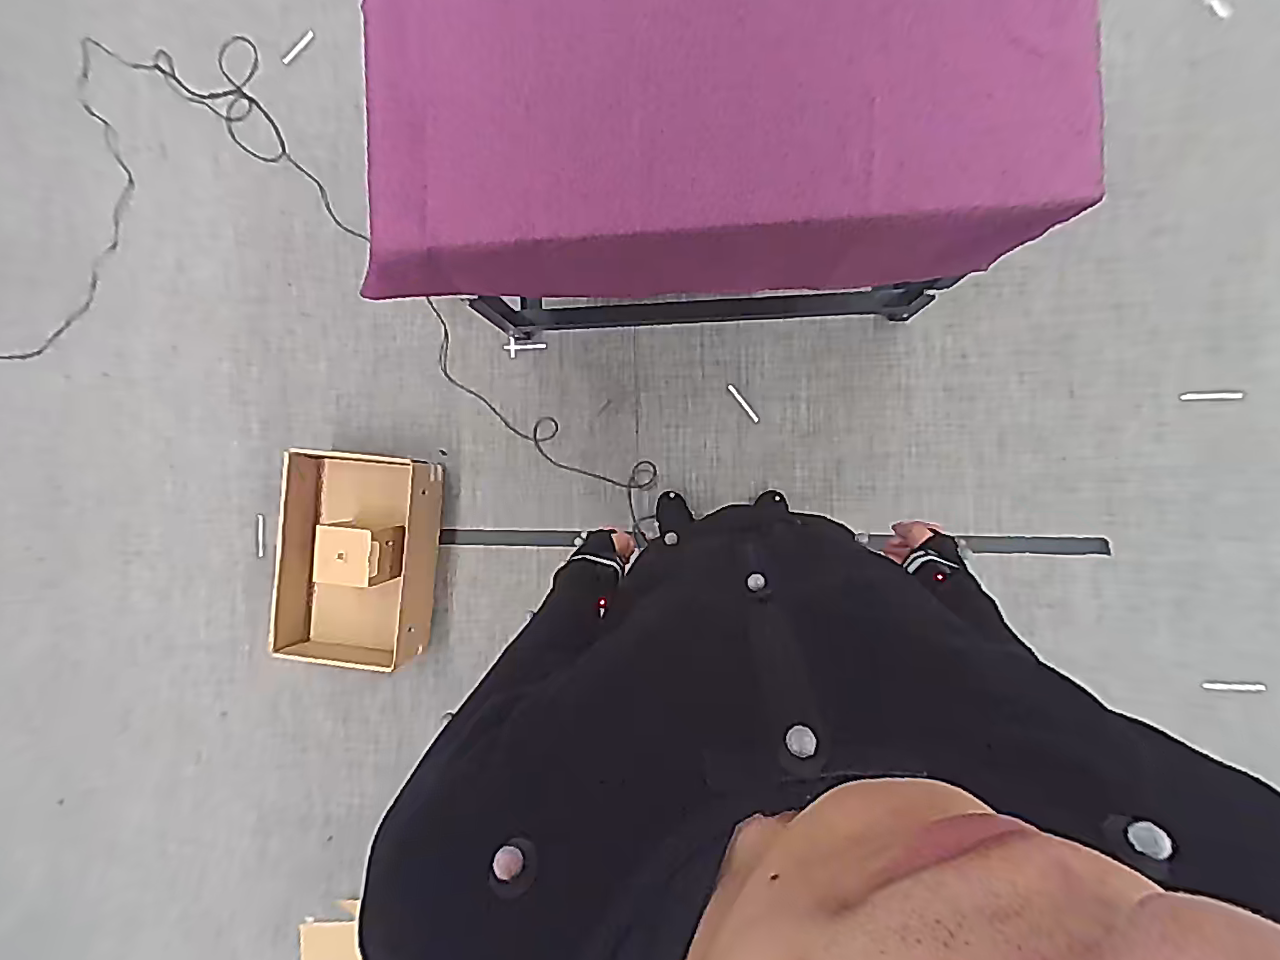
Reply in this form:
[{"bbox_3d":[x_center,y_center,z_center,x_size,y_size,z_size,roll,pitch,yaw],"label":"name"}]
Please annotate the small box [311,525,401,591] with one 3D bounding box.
[{"bbox_3d":[-0.837,0.225,1.610,0.179,0.176,0.168,5,90,6],"label":"small box"}]
